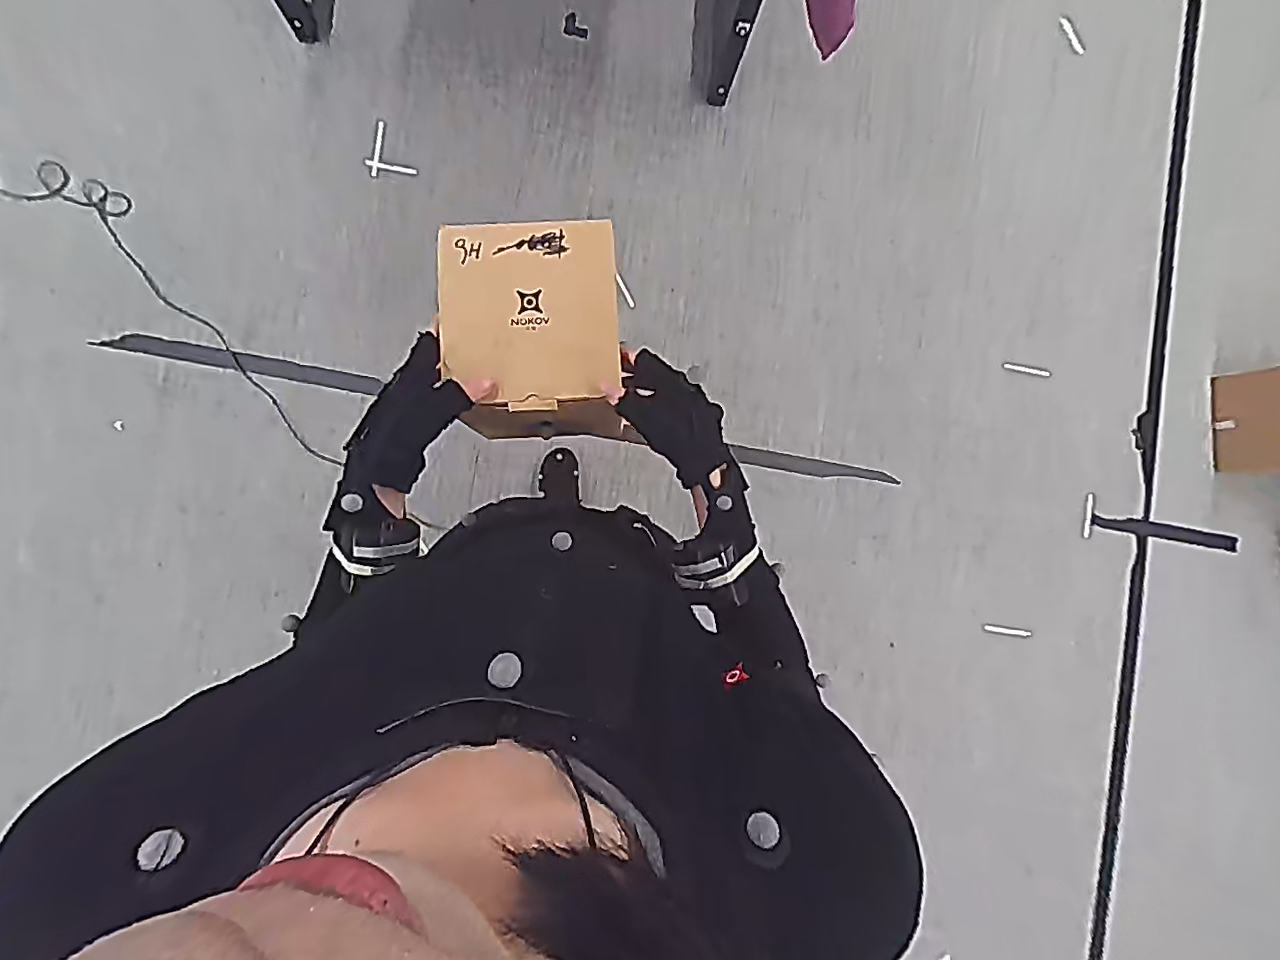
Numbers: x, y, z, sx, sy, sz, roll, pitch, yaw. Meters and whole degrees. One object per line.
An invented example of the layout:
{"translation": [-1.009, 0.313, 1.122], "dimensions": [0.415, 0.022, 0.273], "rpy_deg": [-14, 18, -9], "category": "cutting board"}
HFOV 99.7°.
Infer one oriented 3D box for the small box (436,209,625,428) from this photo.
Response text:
{"translation": [-0.102, -0.153, 0.567], "dimensions": [0.168, 0.176, 0.179], "rpy_deg": [-4, 85, -2], "category": "small box"}
